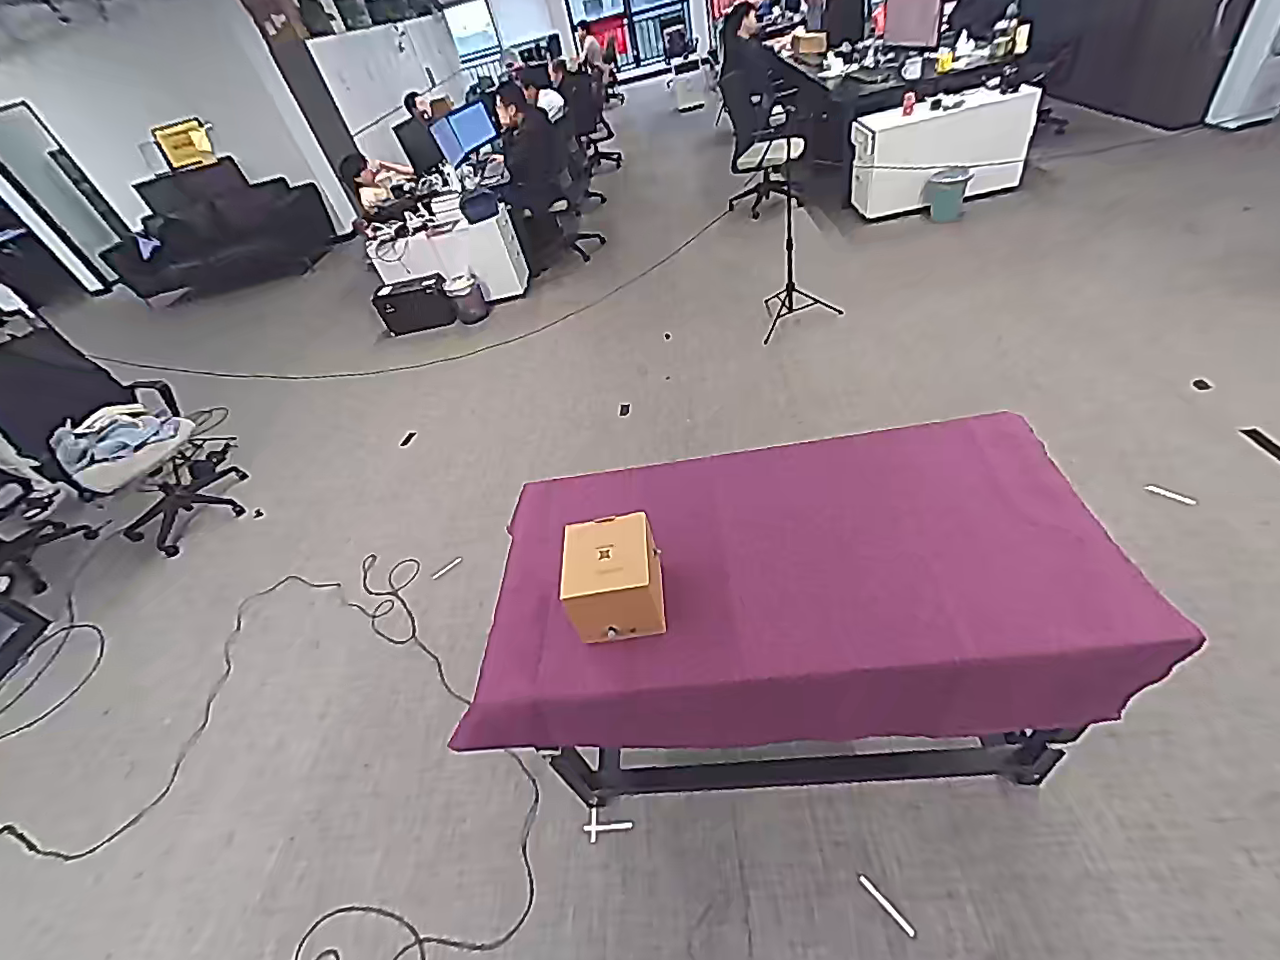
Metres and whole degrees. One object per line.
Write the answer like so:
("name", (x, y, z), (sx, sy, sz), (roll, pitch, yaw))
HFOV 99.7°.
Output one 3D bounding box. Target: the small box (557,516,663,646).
("small box", (-0.052, 0.199, 1.059), (0.168, 0.176, 0.179), (-10, 43, 7))
